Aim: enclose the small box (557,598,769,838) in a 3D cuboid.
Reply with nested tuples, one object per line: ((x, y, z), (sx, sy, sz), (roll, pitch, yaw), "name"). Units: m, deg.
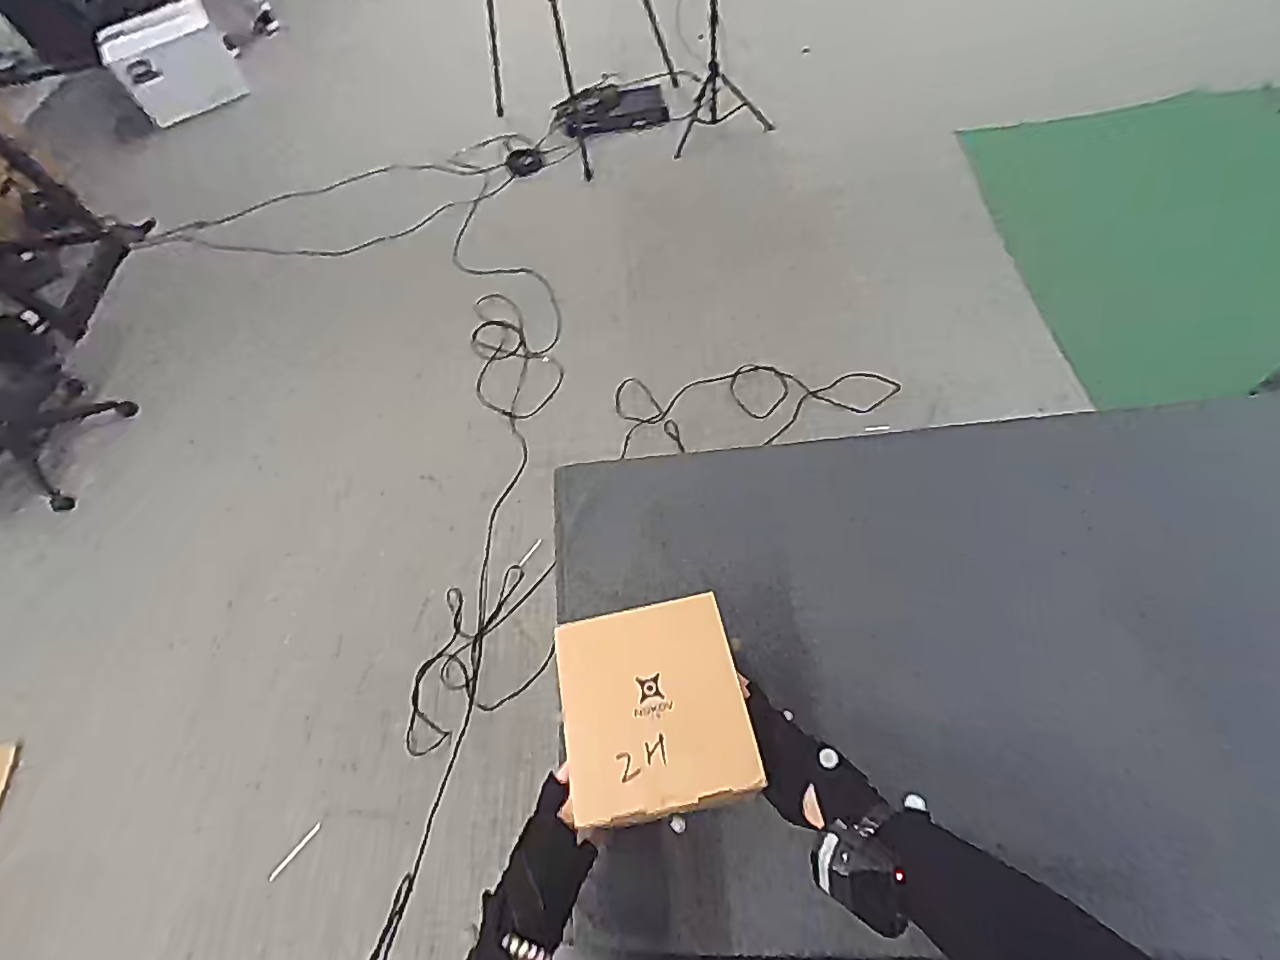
((0.020, 0.247, 0.554), (0.168, 0.176, 0.179), (-13, 56, -1), "small box")
